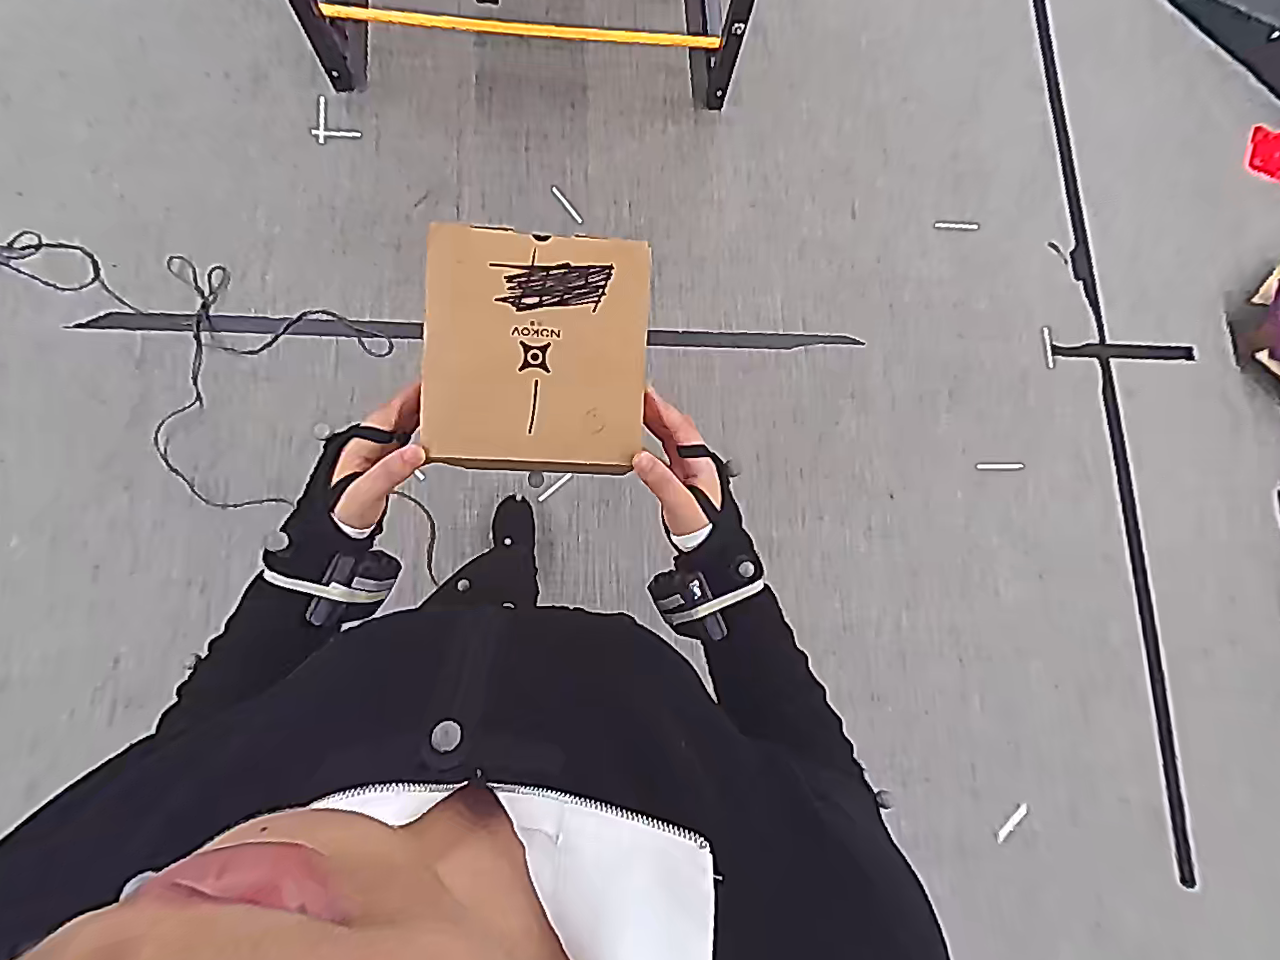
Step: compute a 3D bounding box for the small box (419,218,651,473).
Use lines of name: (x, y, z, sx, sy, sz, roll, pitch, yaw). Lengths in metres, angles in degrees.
small box: (-0.085, -0.101, 0.484, 0.168, 0.176, 0.179, 2, 88, -5)
